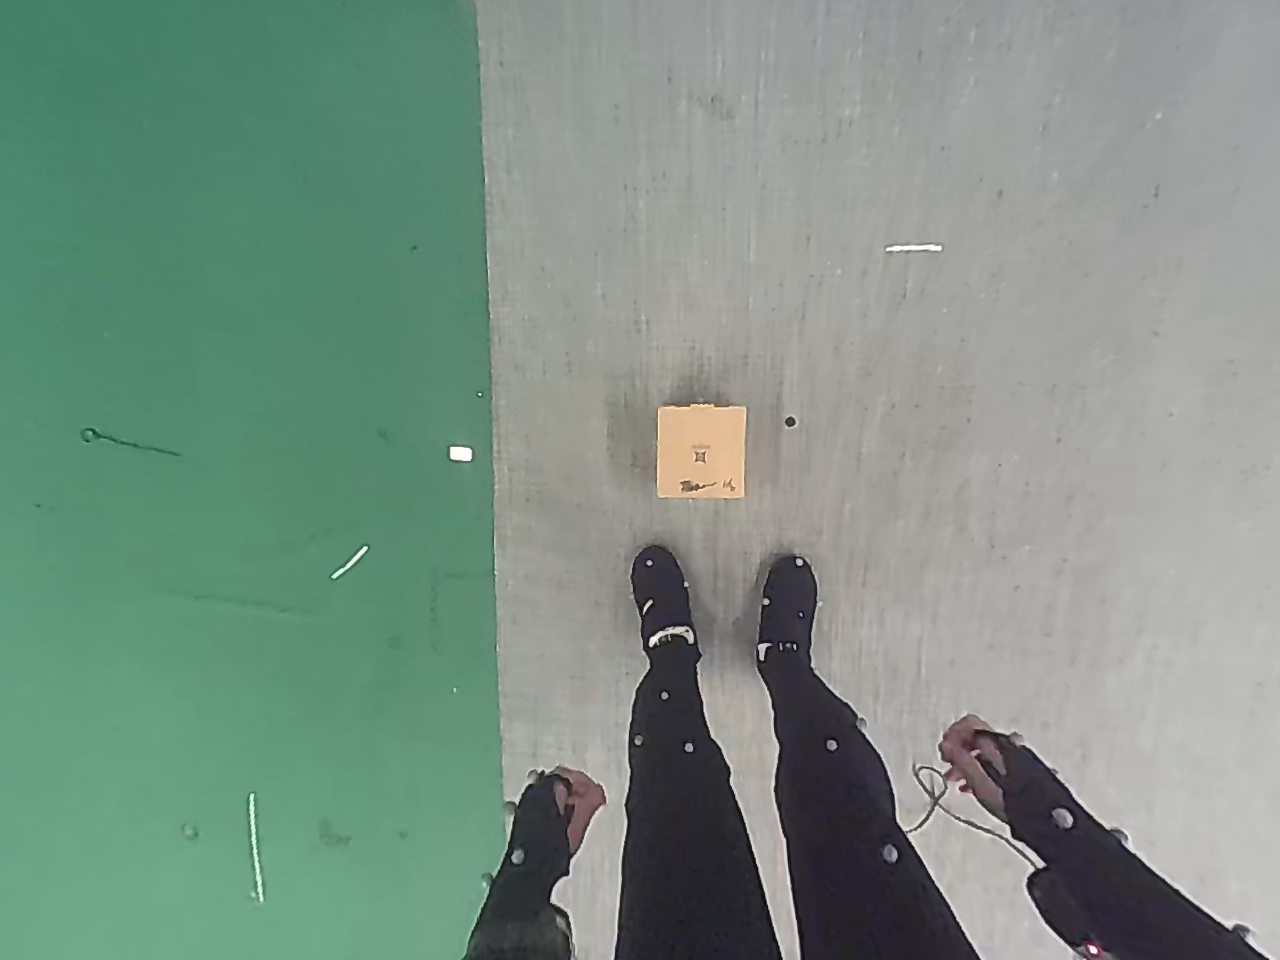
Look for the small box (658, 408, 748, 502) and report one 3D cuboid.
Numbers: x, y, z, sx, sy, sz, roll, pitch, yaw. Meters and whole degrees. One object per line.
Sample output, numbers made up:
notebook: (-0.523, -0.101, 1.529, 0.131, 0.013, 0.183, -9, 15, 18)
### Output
small box: (0.122, -0.054, 1.089, 0.168, 0.176, 0.179, 1, 97, 5)
